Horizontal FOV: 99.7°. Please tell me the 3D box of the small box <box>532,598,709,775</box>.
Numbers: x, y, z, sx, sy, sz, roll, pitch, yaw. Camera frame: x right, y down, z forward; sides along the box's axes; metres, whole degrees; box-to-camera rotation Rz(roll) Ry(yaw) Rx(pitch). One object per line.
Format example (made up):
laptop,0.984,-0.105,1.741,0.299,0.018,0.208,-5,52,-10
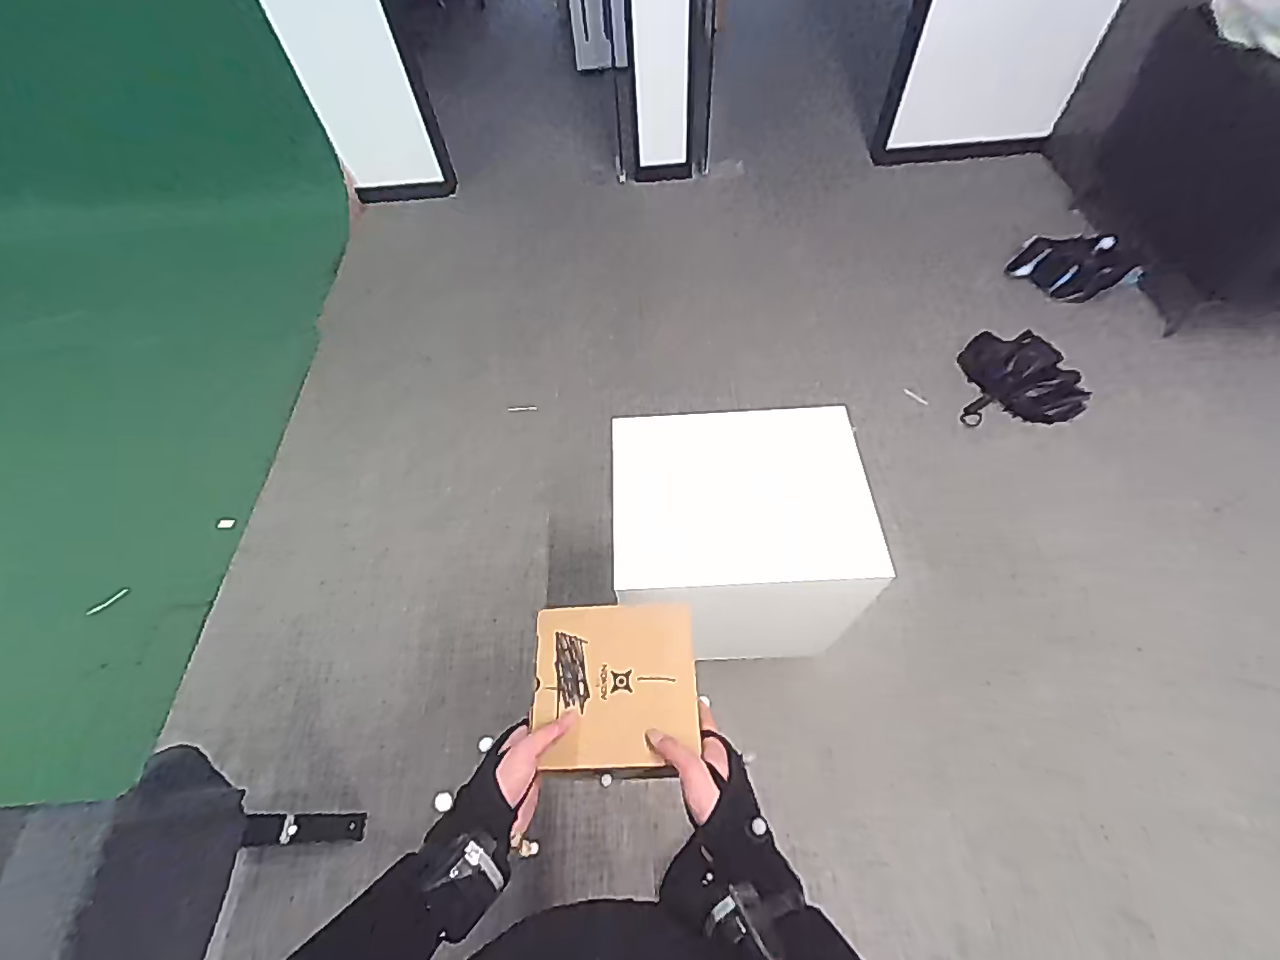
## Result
small box,-0.016,0.246,0.632,0.179,0.176,0.168,-3,59,1
